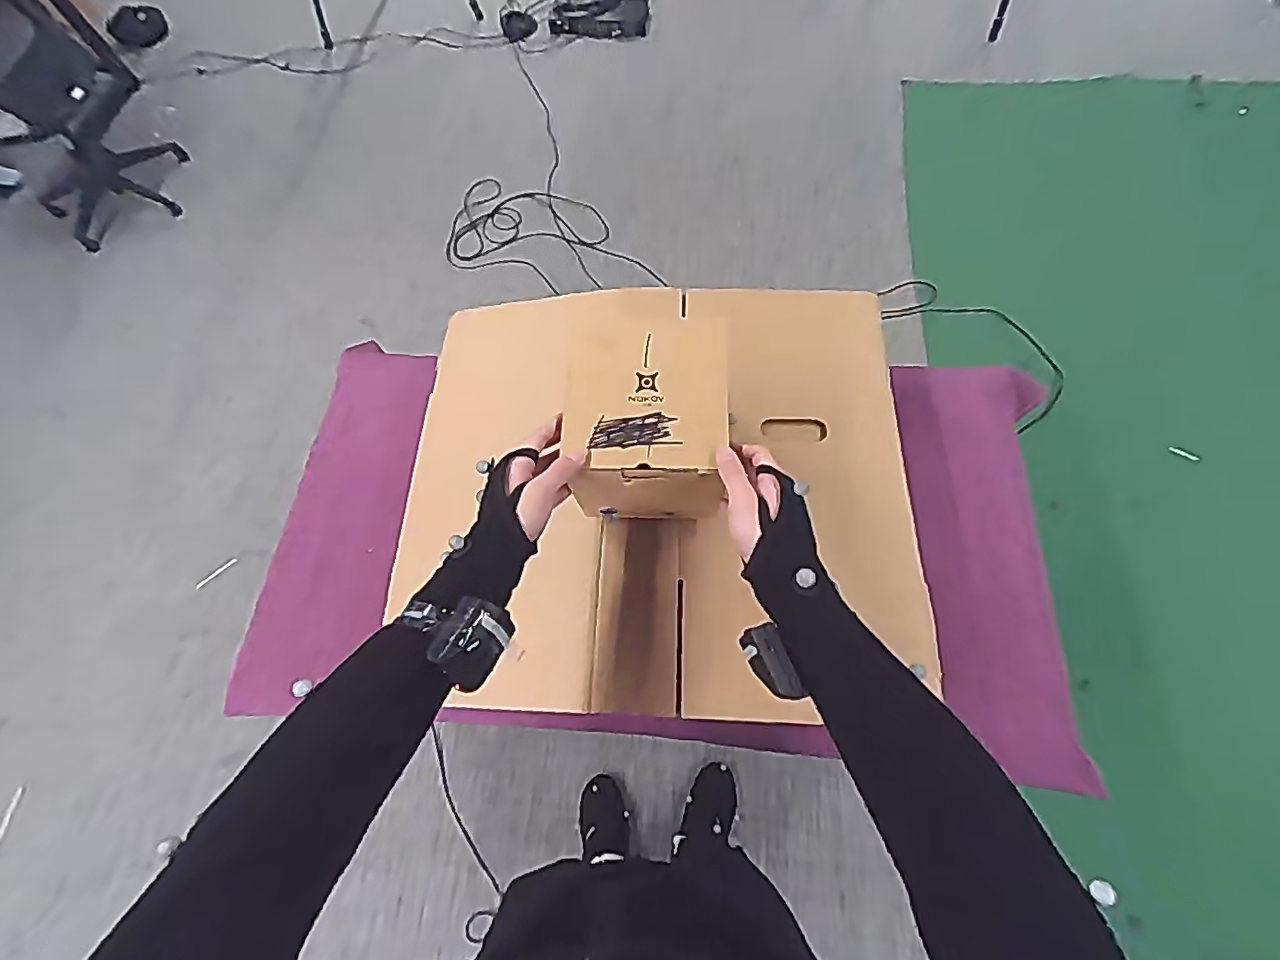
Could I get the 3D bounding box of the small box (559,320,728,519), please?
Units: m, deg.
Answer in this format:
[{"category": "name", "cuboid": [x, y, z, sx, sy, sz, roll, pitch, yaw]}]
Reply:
[{"category": "small box", "cuboid": [0.011, -0.058, 0.615, 0.168, 0.176, 0.179, 0, 69, 3]}]
